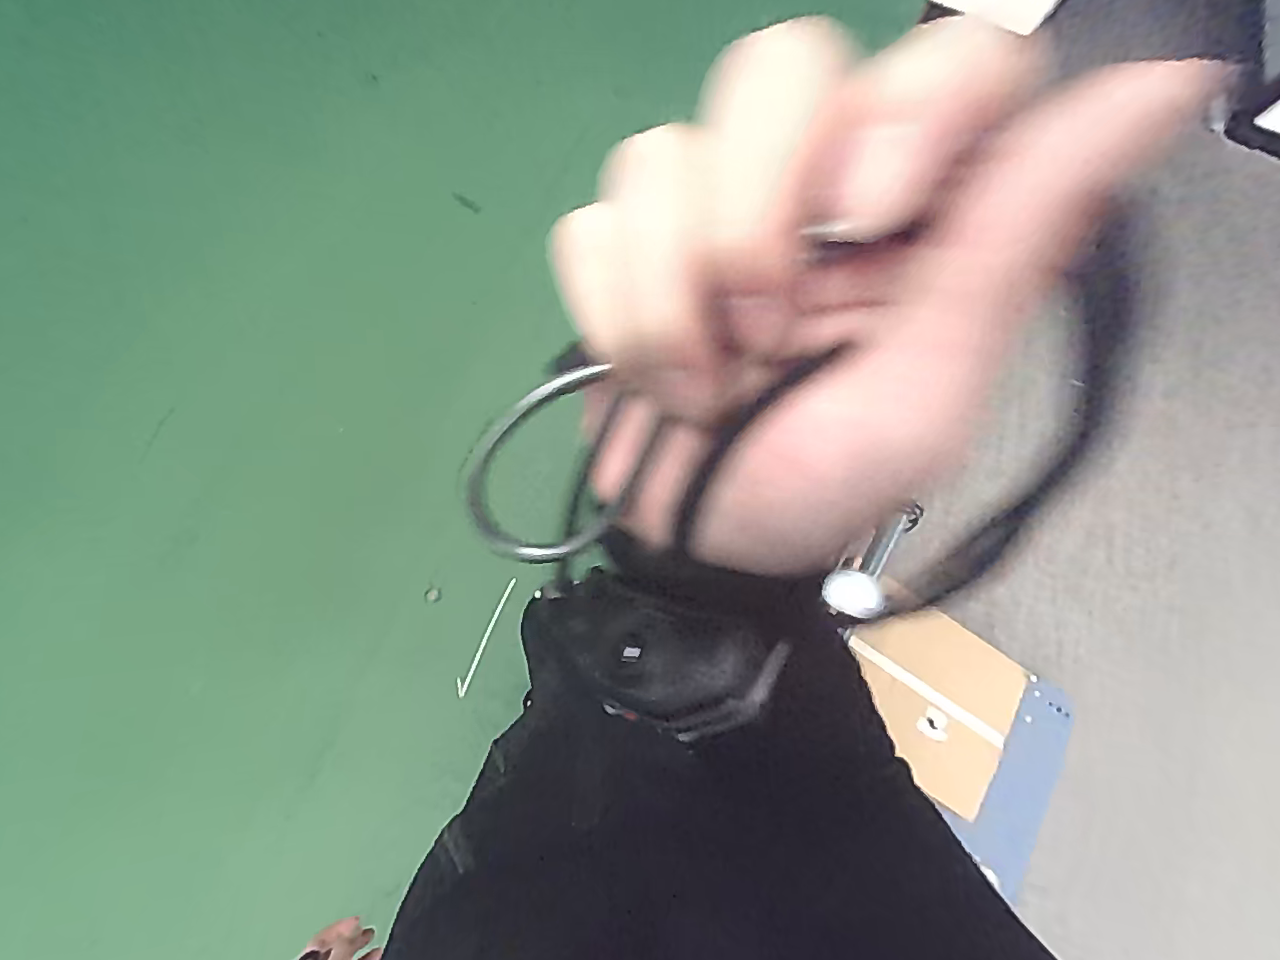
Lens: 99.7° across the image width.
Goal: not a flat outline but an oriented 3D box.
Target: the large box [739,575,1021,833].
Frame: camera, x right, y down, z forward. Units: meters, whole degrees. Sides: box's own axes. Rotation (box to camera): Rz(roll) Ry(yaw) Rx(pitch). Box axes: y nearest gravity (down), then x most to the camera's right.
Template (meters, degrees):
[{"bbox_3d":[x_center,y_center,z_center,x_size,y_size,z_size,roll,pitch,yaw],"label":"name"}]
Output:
[{"bbox_3d":[0.493,0.461,1.179,0.408,0.320,0.320,35,72,4],"label":"large box"}]
